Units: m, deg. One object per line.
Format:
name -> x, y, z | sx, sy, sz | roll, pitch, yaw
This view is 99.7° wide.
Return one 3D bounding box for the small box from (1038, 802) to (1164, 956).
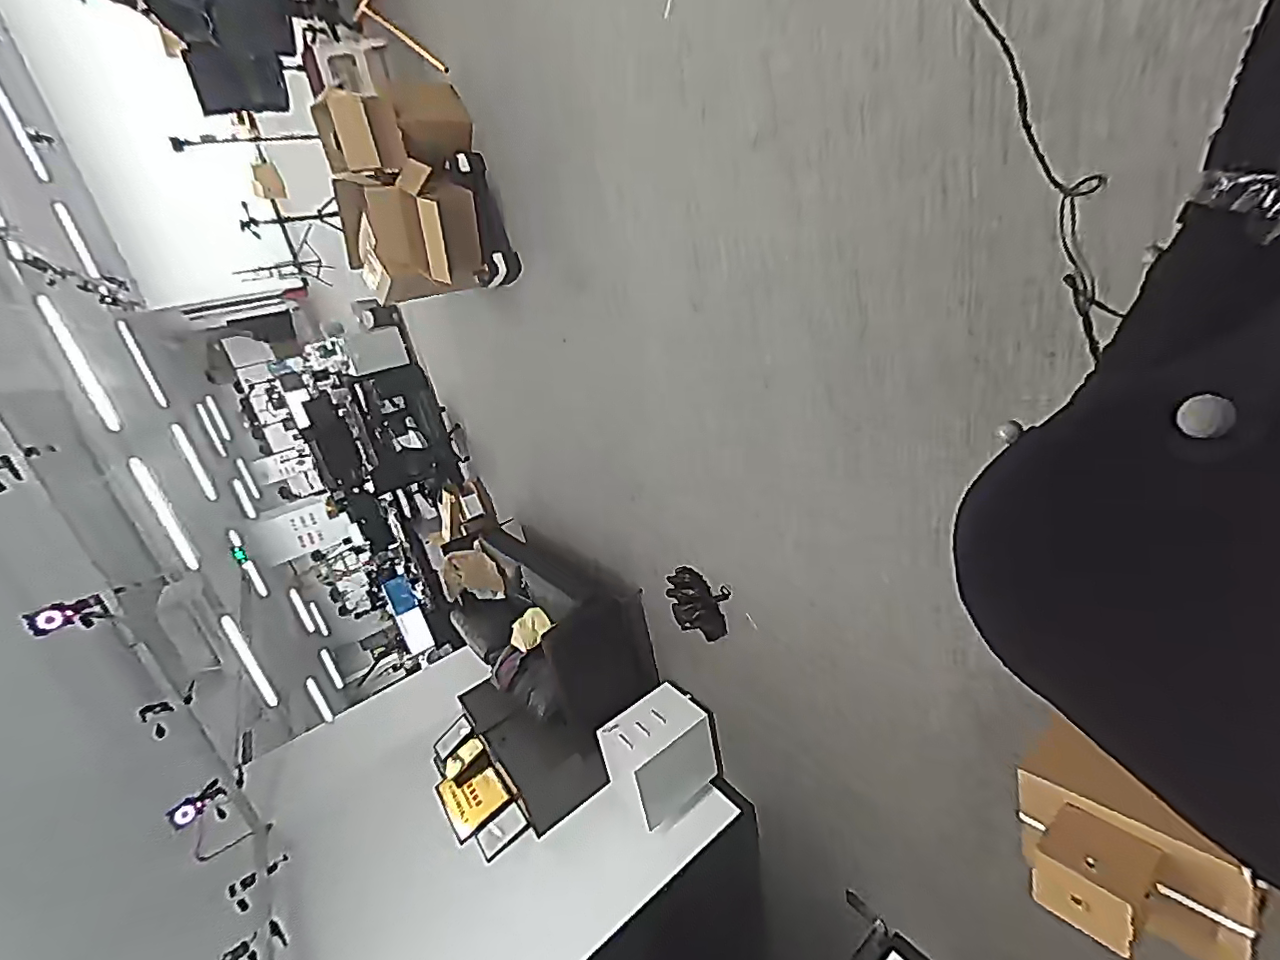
small box -> 1.011, 0.860, 1.187 | 0.179, 0.176, 0.168 | 13, 121, 56
